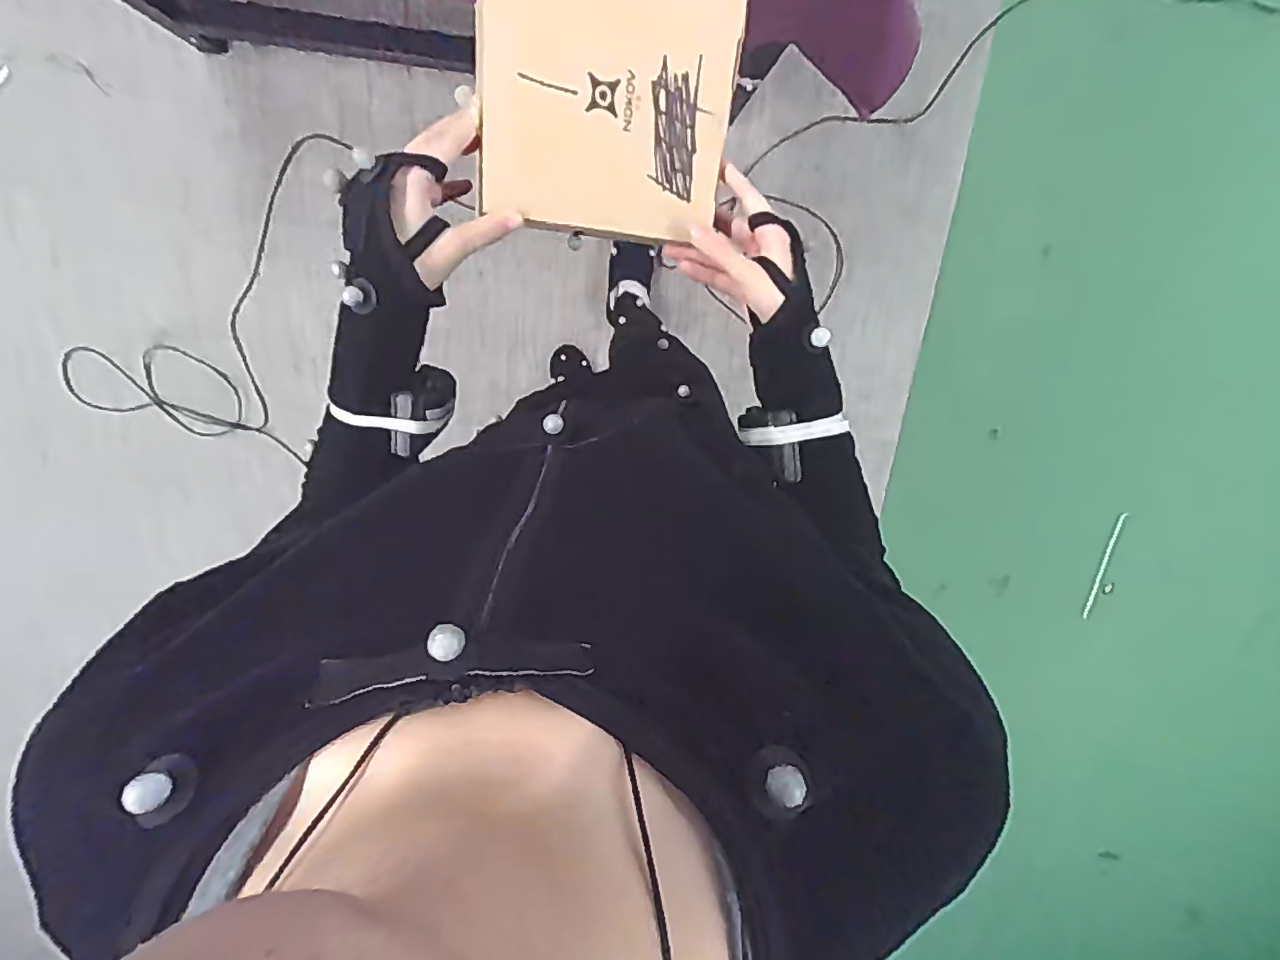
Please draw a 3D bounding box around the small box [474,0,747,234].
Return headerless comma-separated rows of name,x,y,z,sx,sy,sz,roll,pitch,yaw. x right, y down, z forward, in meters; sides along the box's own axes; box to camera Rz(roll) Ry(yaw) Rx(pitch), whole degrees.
small box,-0.040,-0.301,0.439,0.179,0.176,0.168,0,112,-18
